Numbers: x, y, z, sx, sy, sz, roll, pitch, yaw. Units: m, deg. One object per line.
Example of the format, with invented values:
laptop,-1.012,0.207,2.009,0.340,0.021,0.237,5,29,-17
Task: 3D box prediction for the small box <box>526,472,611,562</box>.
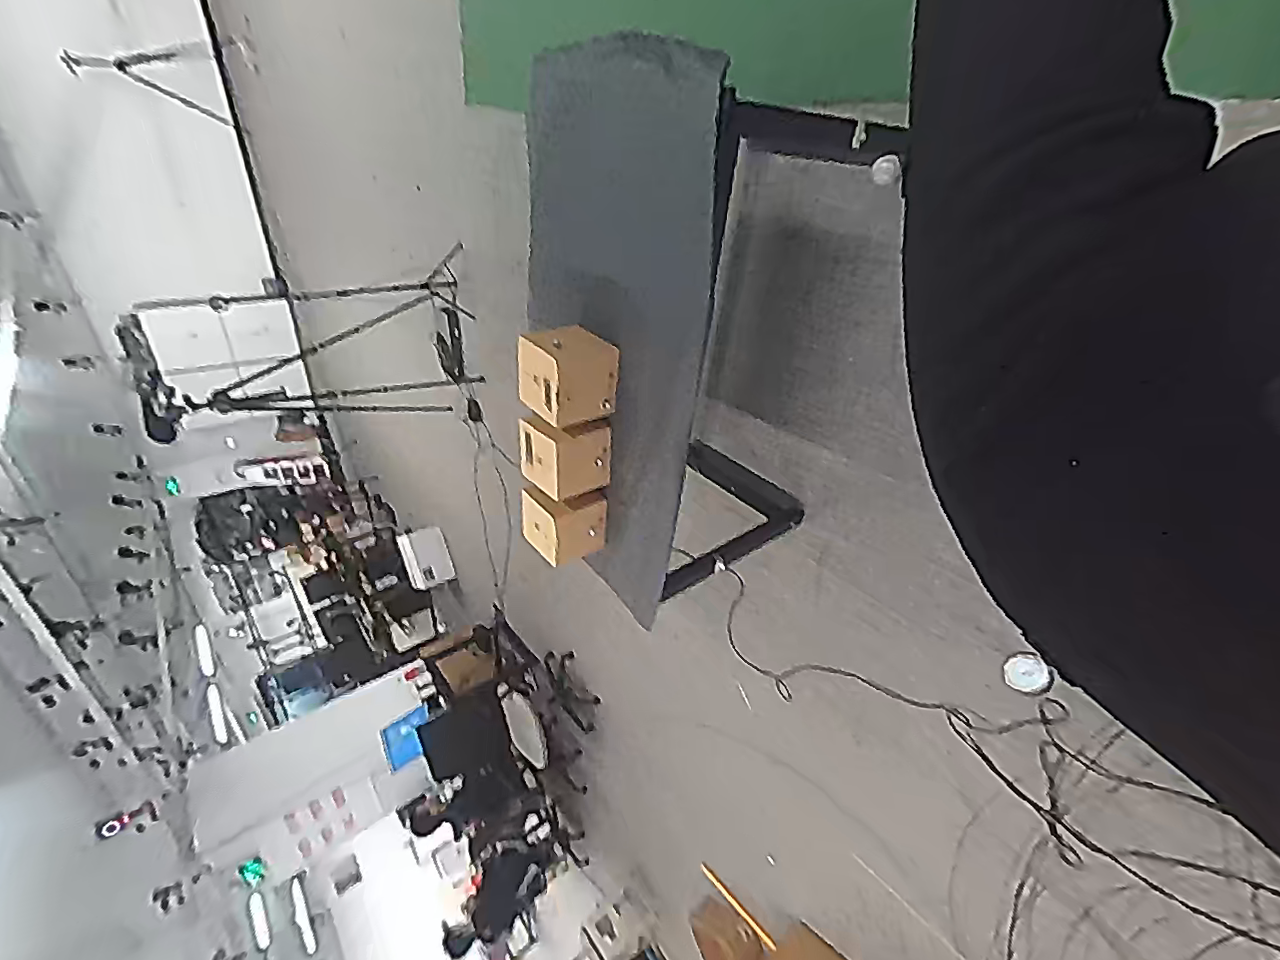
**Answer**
small box,-0.202,0.094,1.516,0.179,0.176,0.168,35,133,39
